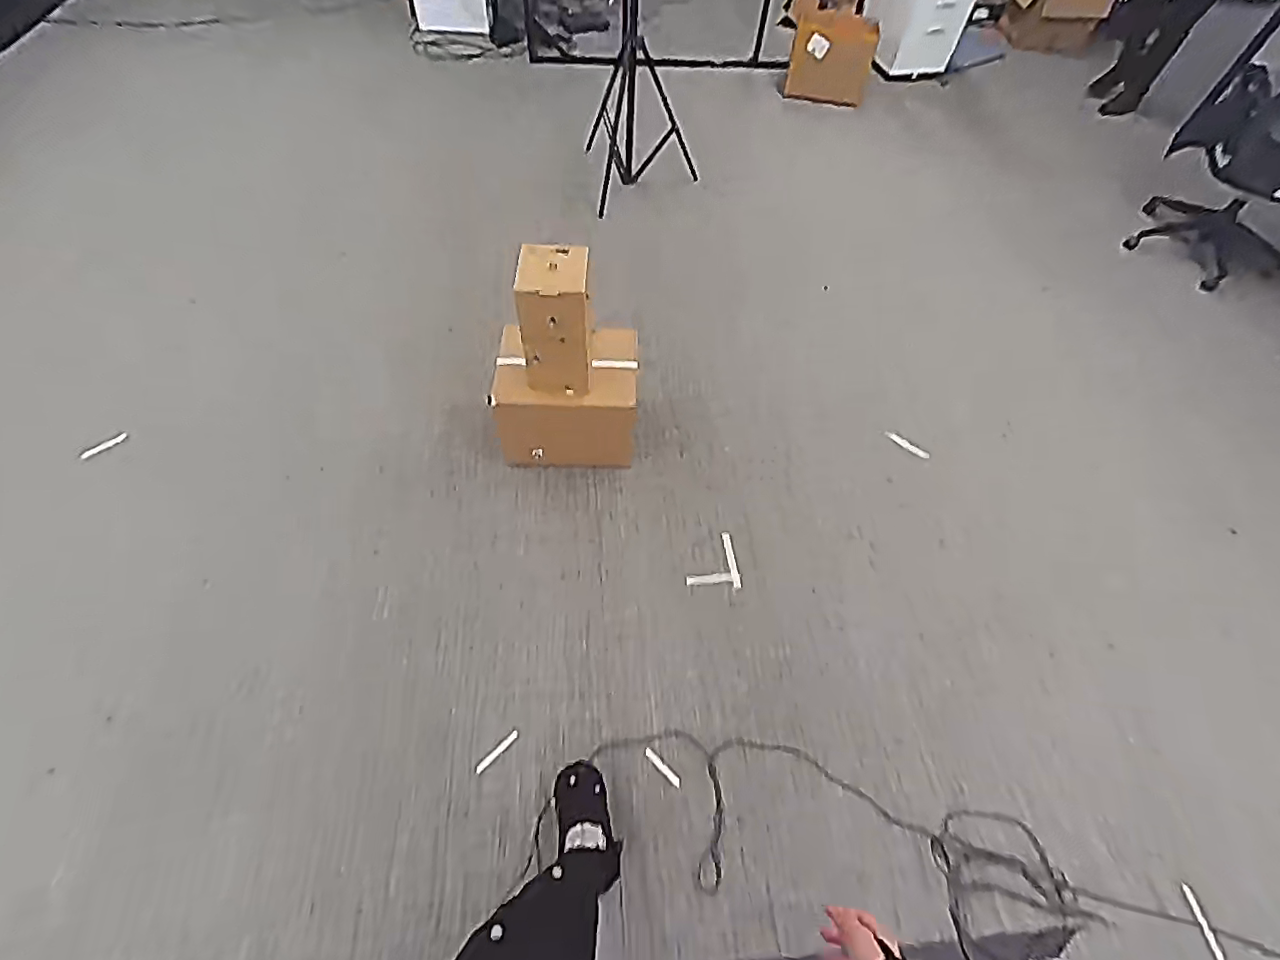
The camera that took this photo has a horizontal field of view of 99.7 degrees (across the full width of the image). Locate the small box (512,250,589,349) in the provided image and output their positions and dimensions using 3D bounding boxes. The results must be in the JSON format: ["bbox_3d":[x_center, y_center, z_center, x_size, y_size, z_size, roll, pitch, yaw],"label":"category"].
[{"bbox_3d":[-0.215,-0.446,1.350,0.168,0.176,0.179,2,58,-3],"label":"small box"}]
